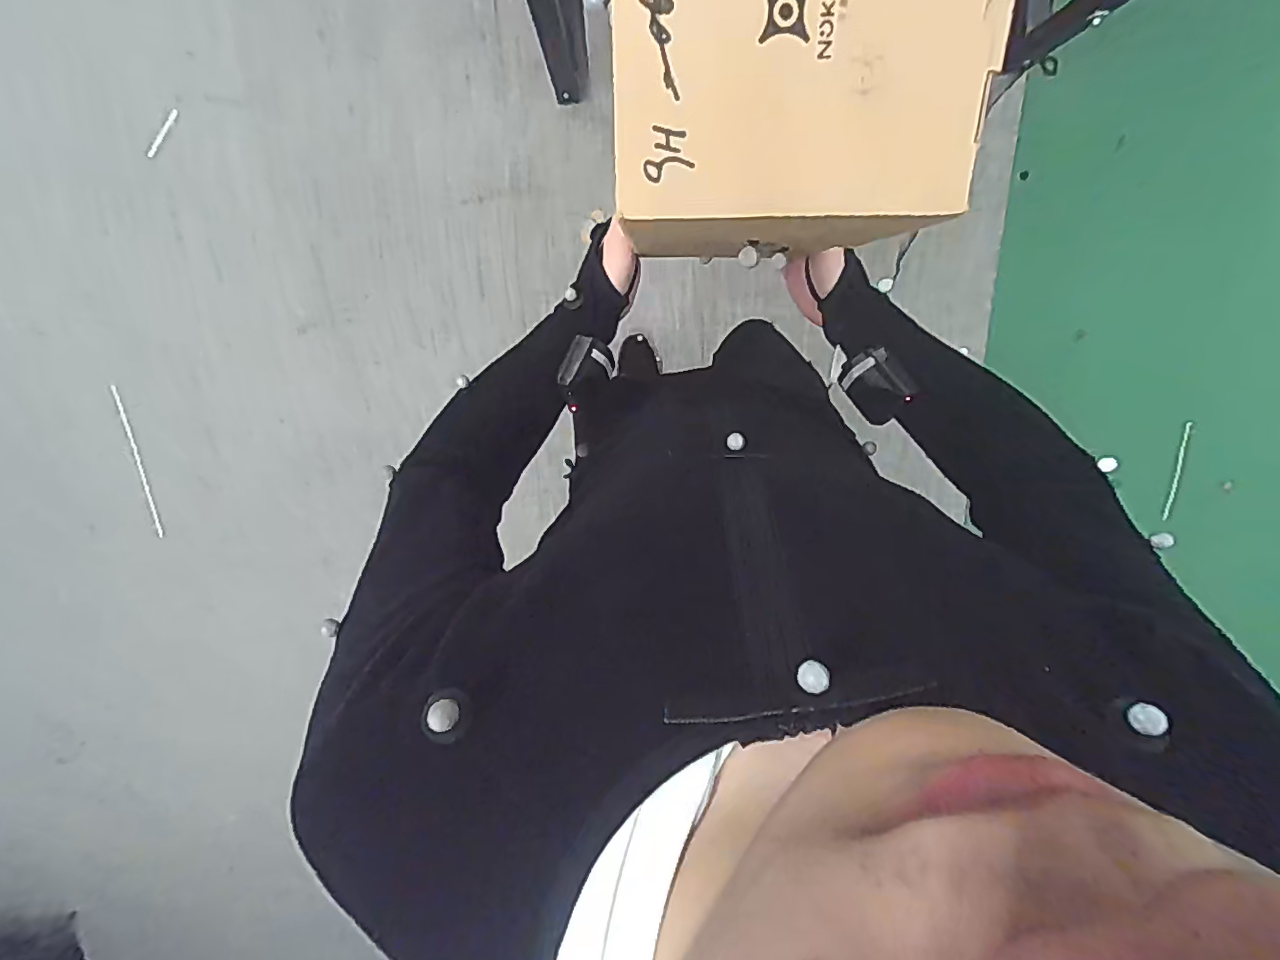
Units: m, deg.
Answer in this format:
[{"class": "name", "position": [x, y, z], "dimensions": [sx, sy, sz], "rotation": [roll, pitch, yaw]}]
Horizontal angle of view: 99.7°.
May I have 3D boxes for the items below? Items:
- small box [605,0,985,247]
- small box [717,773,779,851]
[{"class": "small box", "position": [0.072, -0.238, 0.324], "dimensions": [0.179, 0.176, 0.168], "rotation": [1, 108, 2]}, {"class": "small box", "position": [0.371, 1.153, 1.884], "dimensions": [0.179, 0.176, 0.168], "rotation": [3, 105, 0]}]
